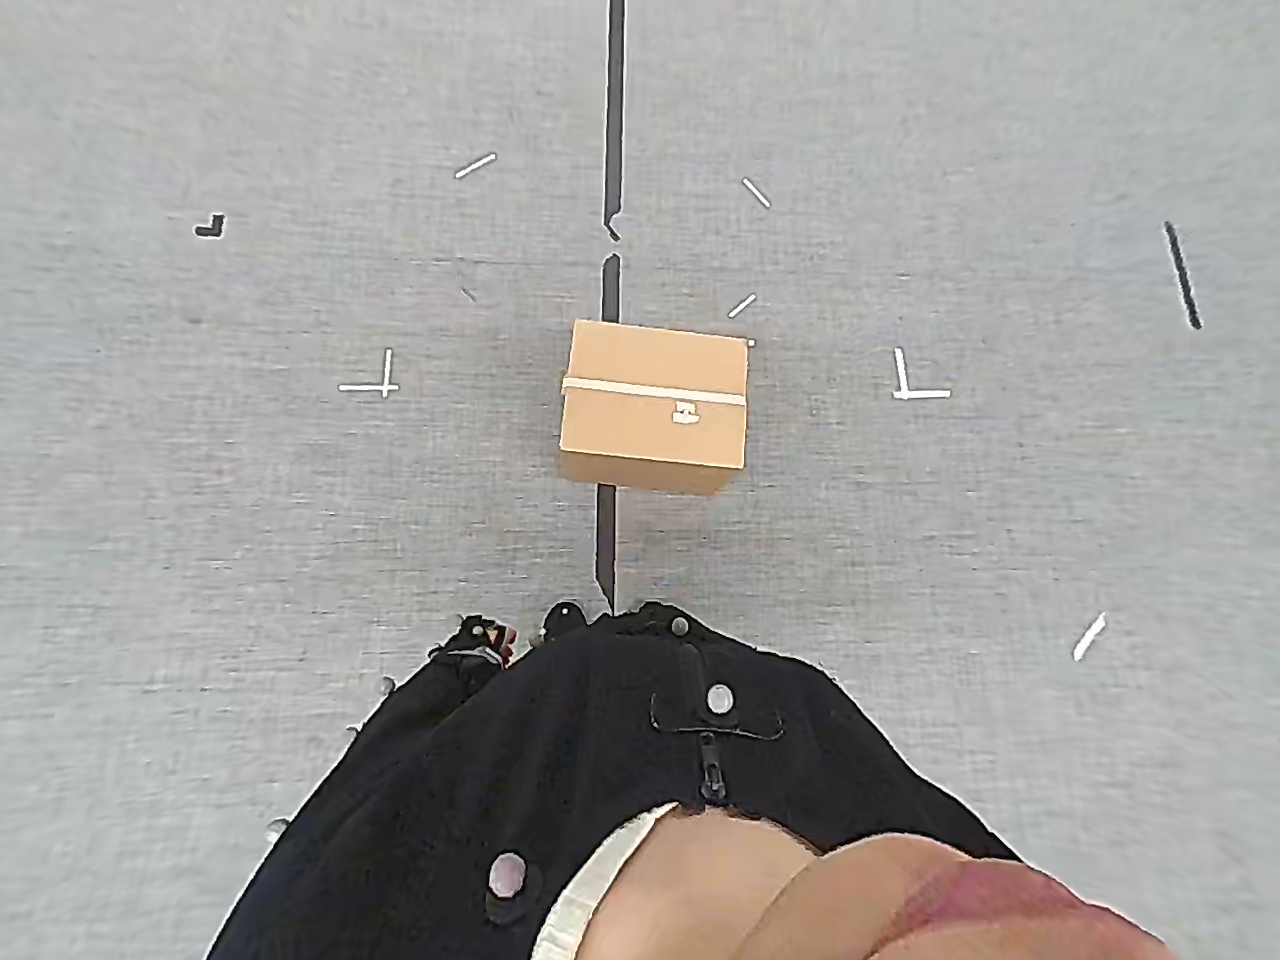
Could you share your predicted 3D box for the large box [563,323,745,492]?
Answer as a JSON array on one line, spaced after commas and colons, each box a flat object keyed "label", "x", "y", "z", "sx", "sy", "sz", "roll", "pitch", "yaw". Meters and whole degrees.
[{"label": "large box", "x": 0.022, "y": -0.161, "z": 1.350, "sx": 0.408, "sy": 0.320, "sz": 0.320, "roll": 6, "pitch": 78, "yaw": -5}]
